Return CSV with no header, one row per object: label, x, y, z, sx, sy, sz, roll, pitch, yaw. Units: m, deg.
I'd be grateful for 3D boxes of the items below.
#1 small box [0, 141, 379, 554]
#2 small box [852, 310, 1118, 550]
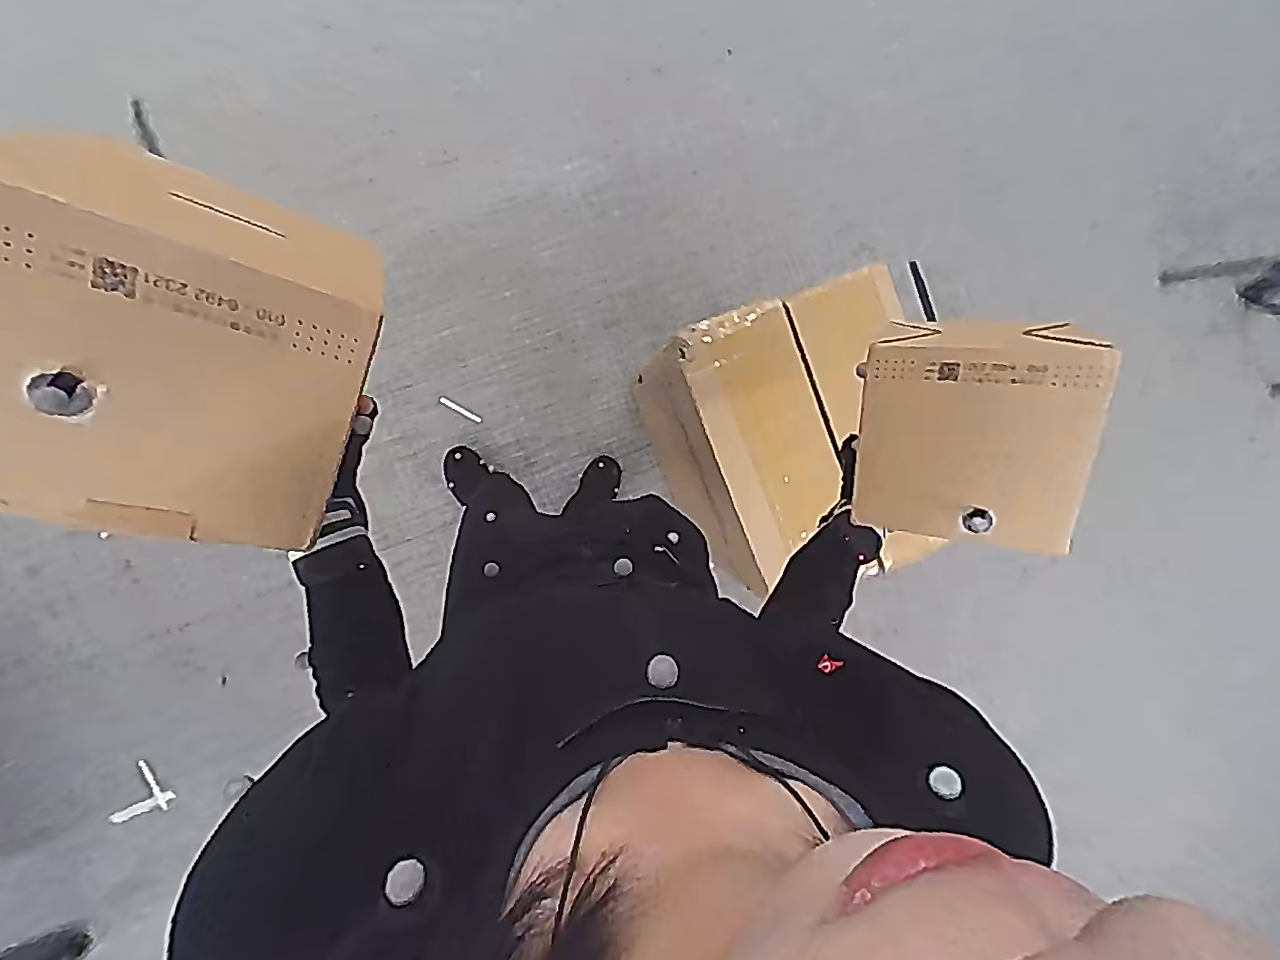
small box,-0.270,-0.081,0.333,0.168,0.179,0.176,14,115,-32
small box,0.301,-0.062,0.498,0.168,0.179,0.176,8,115,27
